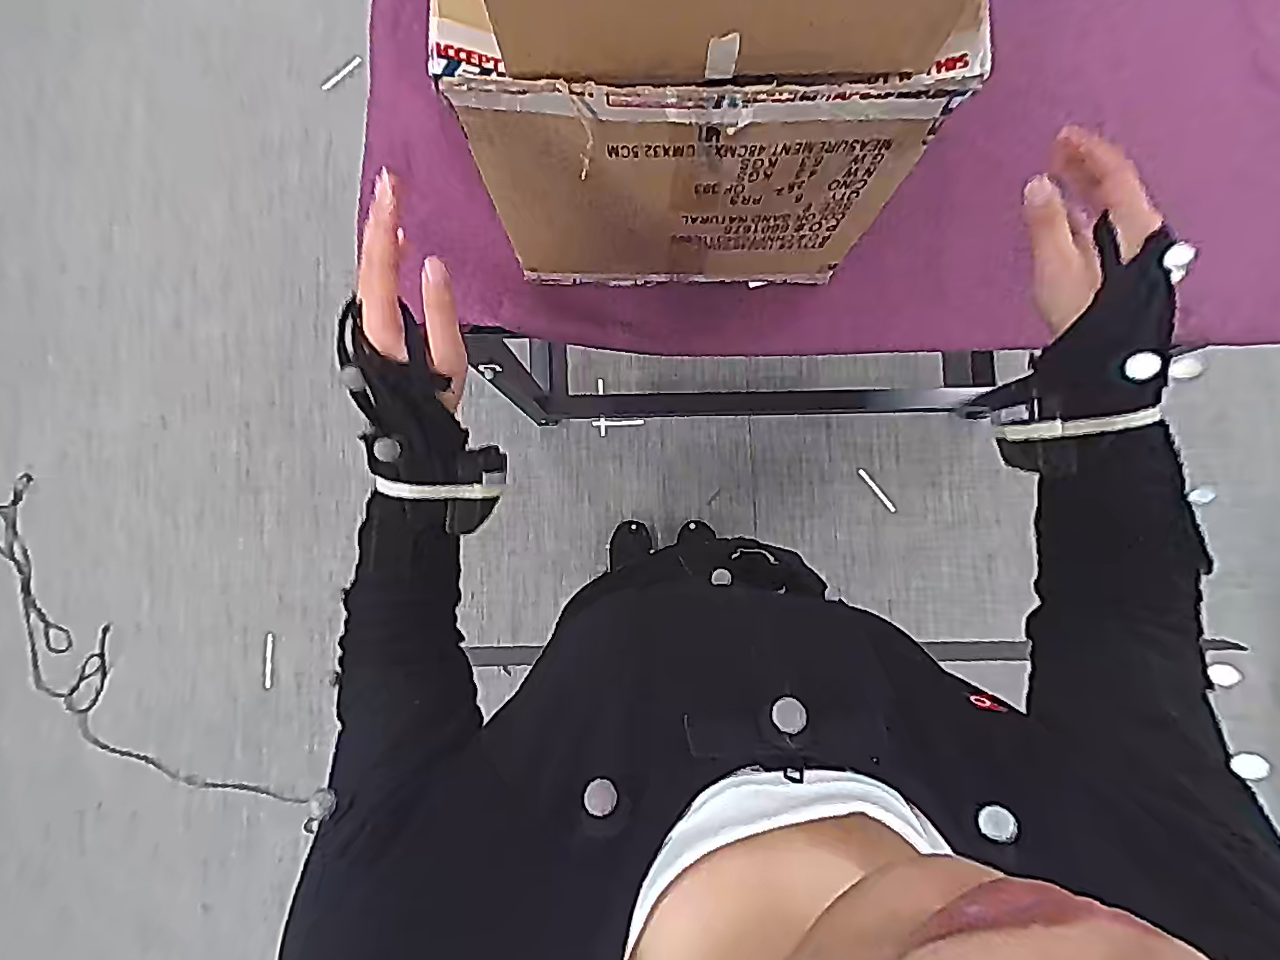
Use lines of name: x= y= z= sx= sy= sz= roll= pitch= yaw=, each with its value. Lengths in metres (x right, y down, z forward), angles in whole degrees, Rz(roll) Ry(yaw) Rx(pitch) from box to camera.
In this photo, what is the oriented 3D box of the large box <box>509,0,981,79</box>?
large box: x=0.061 y=-0.503 z=0.257 sx=0.320 sy=0.320 sz=0.408 roll=-2 pitch=86 yaw=2
